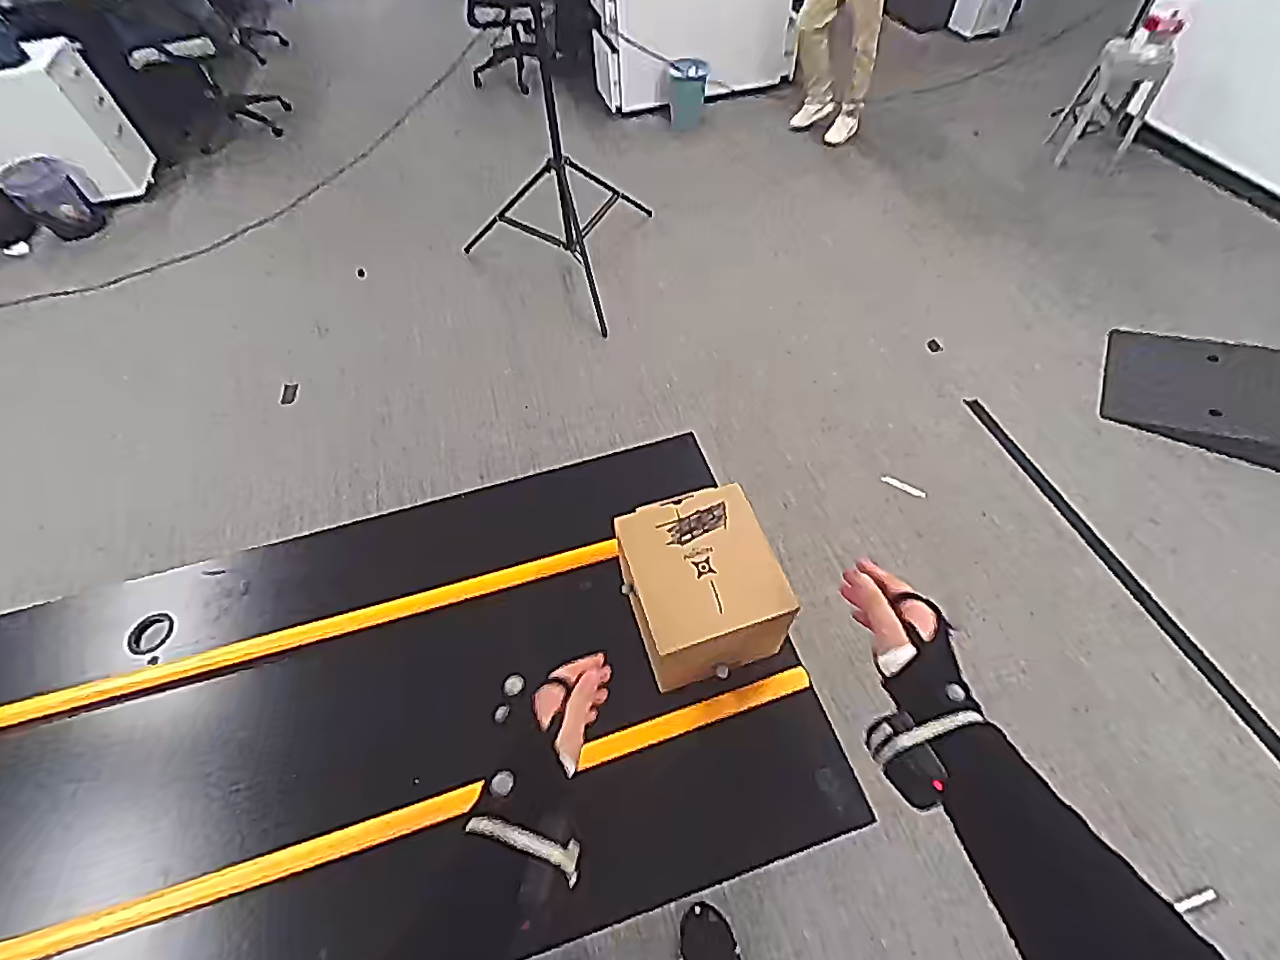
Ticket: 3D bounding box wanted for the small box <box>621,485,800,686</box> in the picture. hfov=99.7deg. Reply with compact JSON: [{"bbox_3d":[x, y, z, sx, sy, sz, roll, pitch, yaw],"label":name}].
[{"bbox_3d":[0.078,0.138,0.694,0.168,0.176,0.179,-16,57,-7],"label":"small box"}]
